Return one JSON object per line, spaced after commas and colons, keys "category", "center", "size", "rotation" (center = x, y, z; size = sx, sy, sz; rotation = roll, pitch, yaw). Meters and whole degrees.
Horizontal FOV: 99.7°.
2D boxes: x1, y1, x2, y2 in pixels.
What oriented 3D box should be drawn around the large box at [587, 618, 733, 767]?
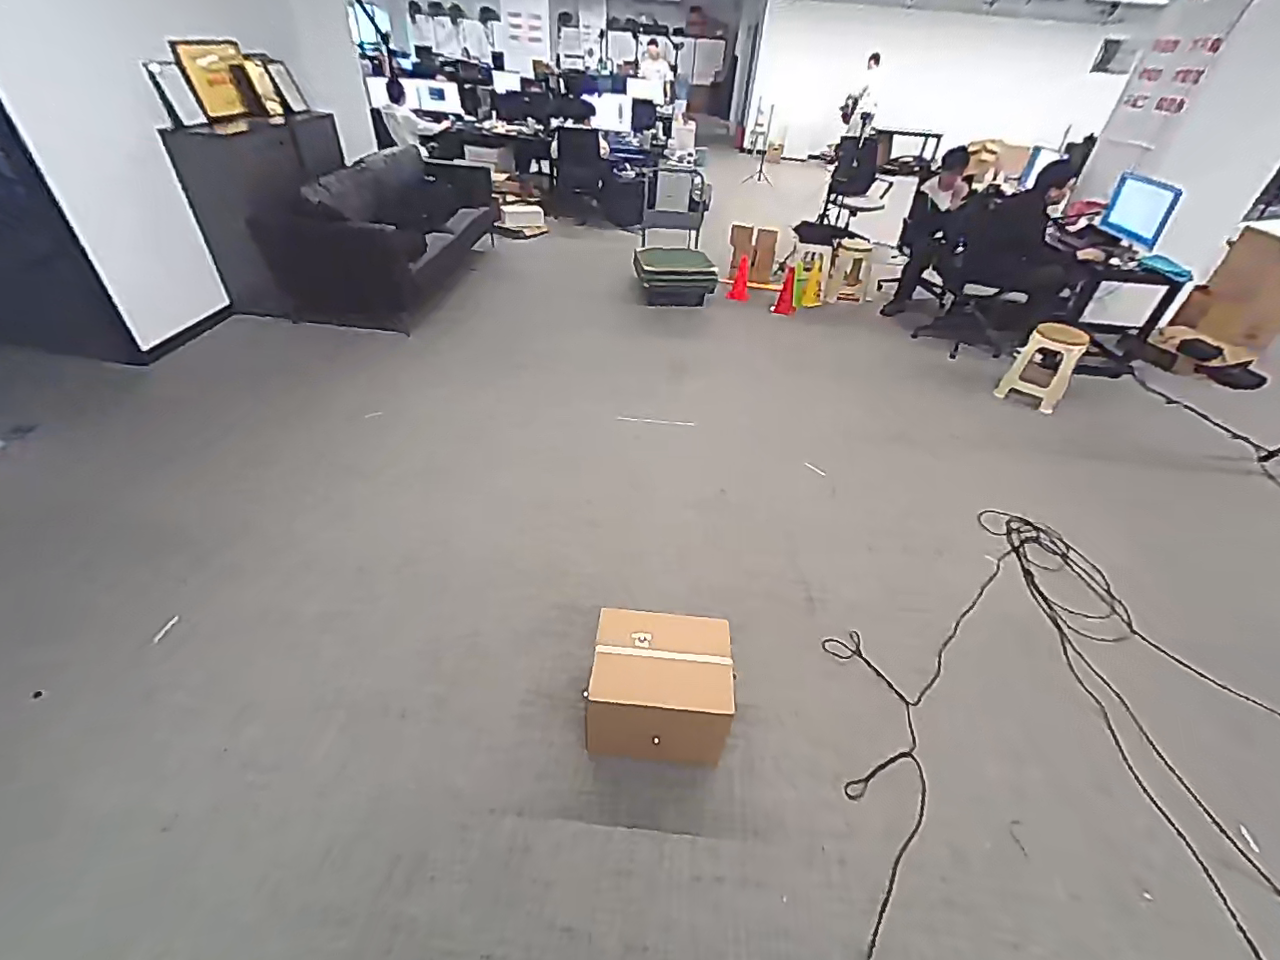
{"category": "large box", "center": [0.056, 0.654, 1.668], "size": [0.408, 0.320, 0.320], "rotation": [4, 37, 1]}
